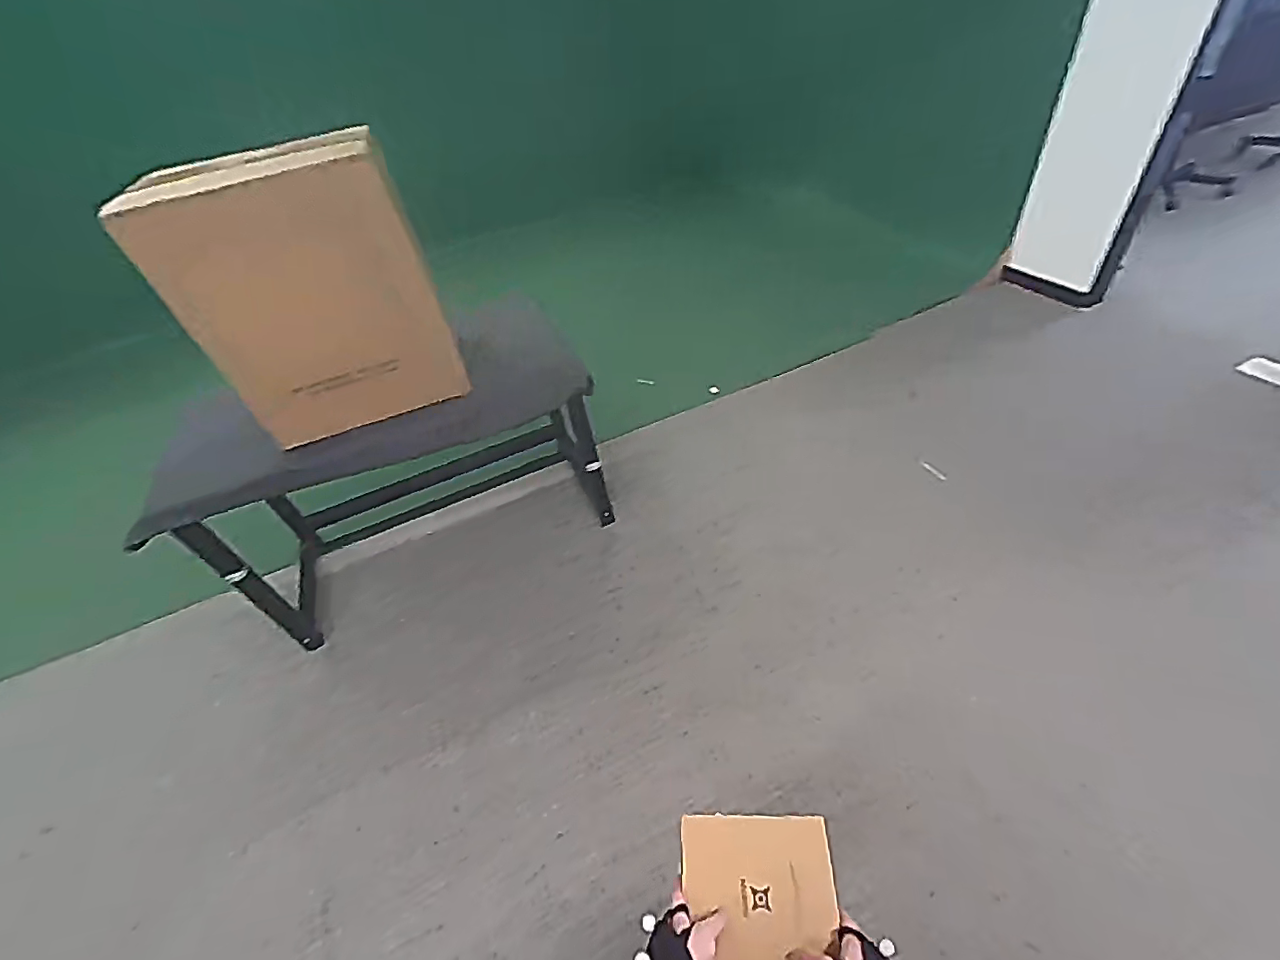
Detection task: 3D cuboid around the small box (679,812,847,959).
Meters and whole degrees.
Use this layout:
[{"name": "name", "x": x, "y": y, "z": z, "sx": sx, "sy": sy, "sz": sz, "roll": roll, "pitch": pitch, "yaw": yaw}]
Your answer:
[{"name": "small box", "x": 0.145, "y": 0.525, "z": 0.676, "sx": 0.179, "sy": 0.176, "sz": 0.168, "roll": -4, "pitch": 49, "yaw": 6}]
